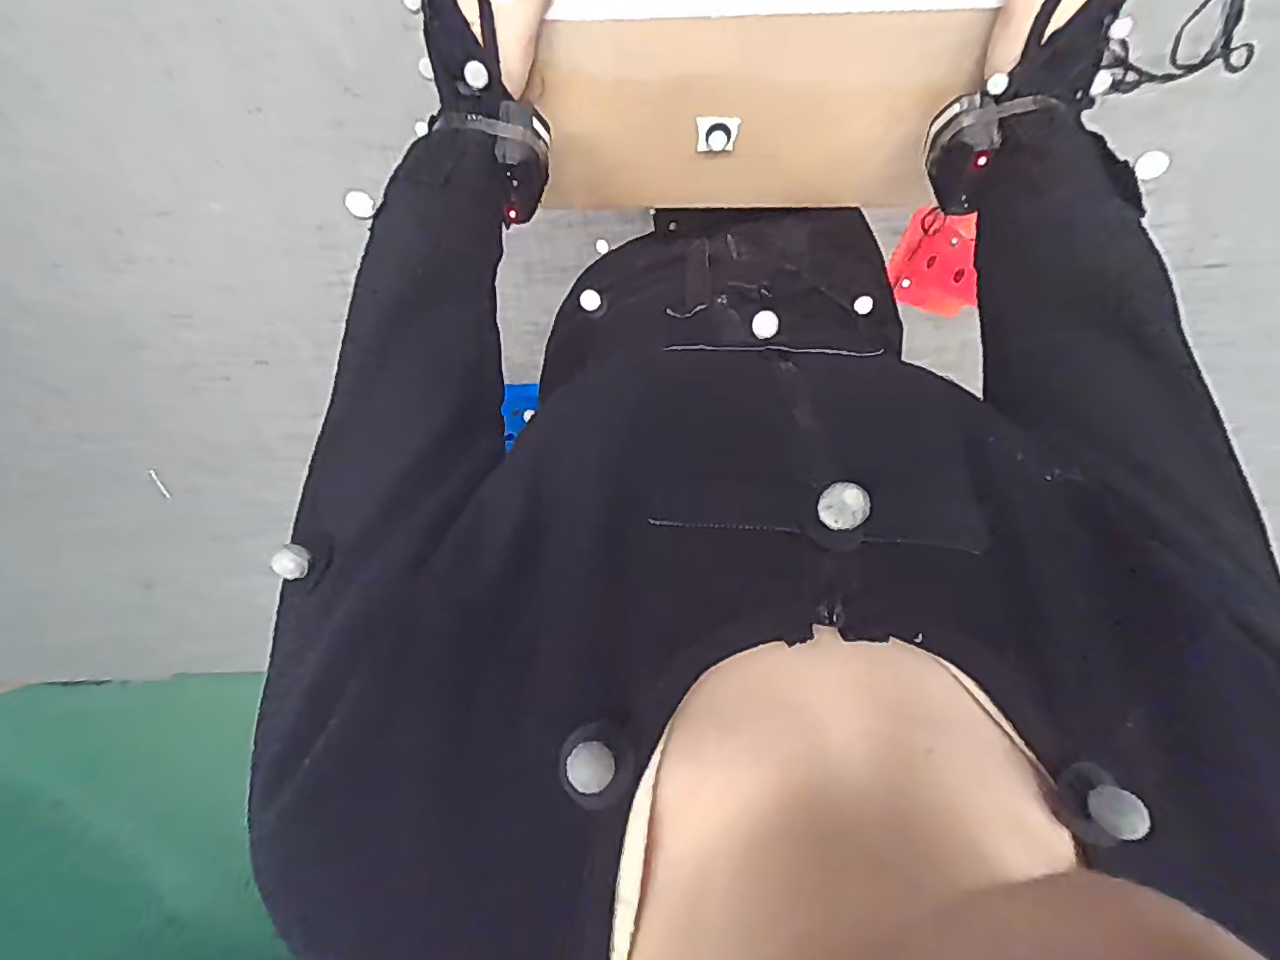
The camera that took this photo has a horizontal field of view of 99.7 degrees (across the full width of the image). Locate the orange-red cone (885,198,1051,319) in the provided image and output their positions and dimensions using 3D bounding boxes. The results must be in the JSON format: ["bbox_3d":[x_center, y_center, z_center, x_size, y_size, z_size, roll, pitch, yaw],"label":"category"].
[{"bbox_3d":[0.633,-0.368,0.989,0.199,0.360,0.198,15,123,-6],"label":"orange-red cone"}]
